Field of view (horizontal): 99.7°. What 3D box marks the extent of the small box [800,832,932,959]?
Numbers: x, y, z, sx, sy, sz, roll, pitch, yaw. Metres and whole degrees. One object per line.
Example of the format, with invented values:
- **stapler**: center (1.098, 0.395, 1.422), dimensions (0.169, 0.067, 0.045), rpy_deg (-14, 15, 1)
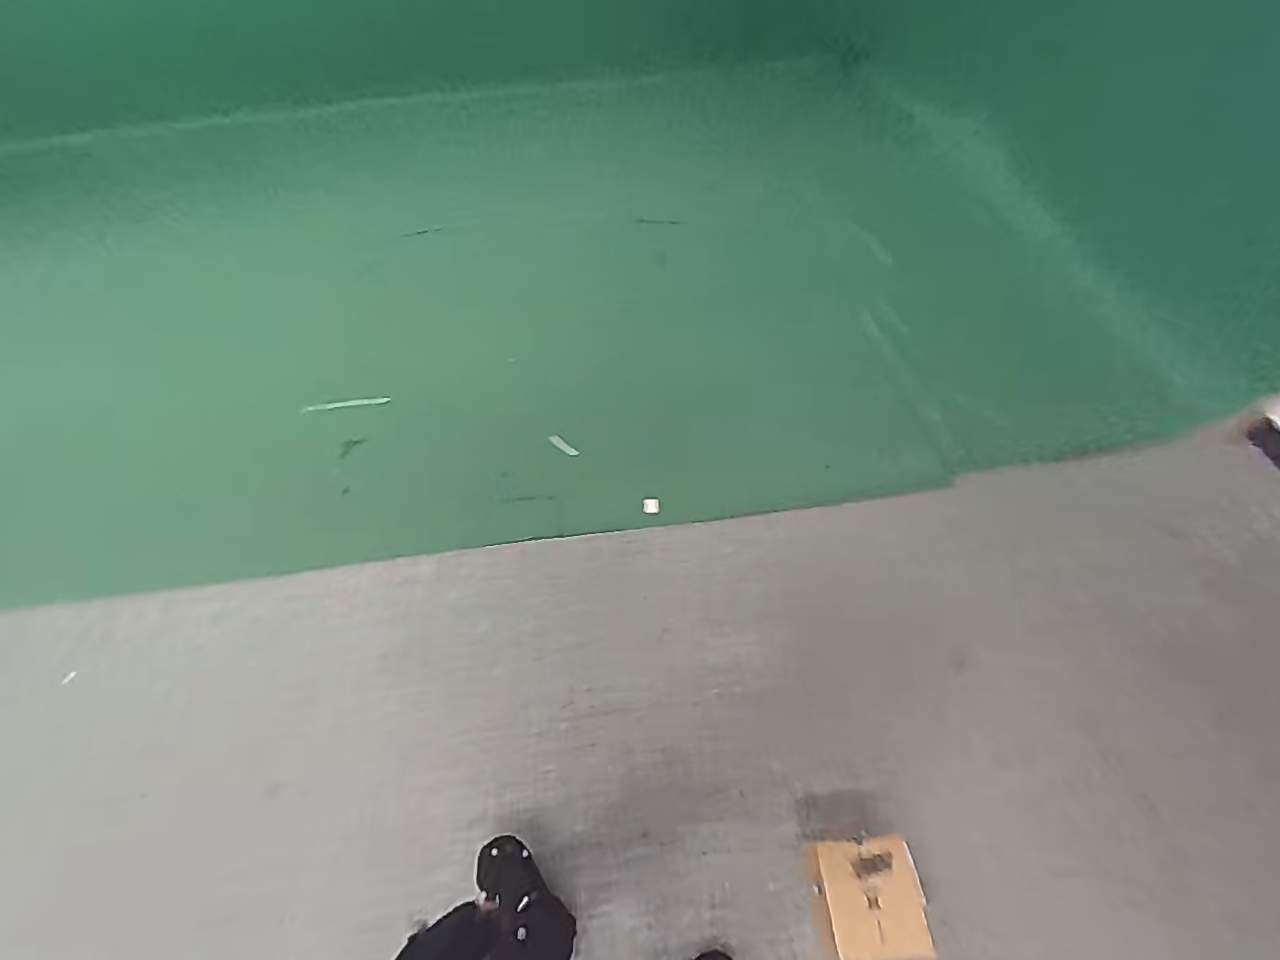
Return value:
- **small box**: center (0.419, 0.790, 1.039), dimensions (0.168, 0.176, 0.179), rpy_deg (-5, 56, 1)
